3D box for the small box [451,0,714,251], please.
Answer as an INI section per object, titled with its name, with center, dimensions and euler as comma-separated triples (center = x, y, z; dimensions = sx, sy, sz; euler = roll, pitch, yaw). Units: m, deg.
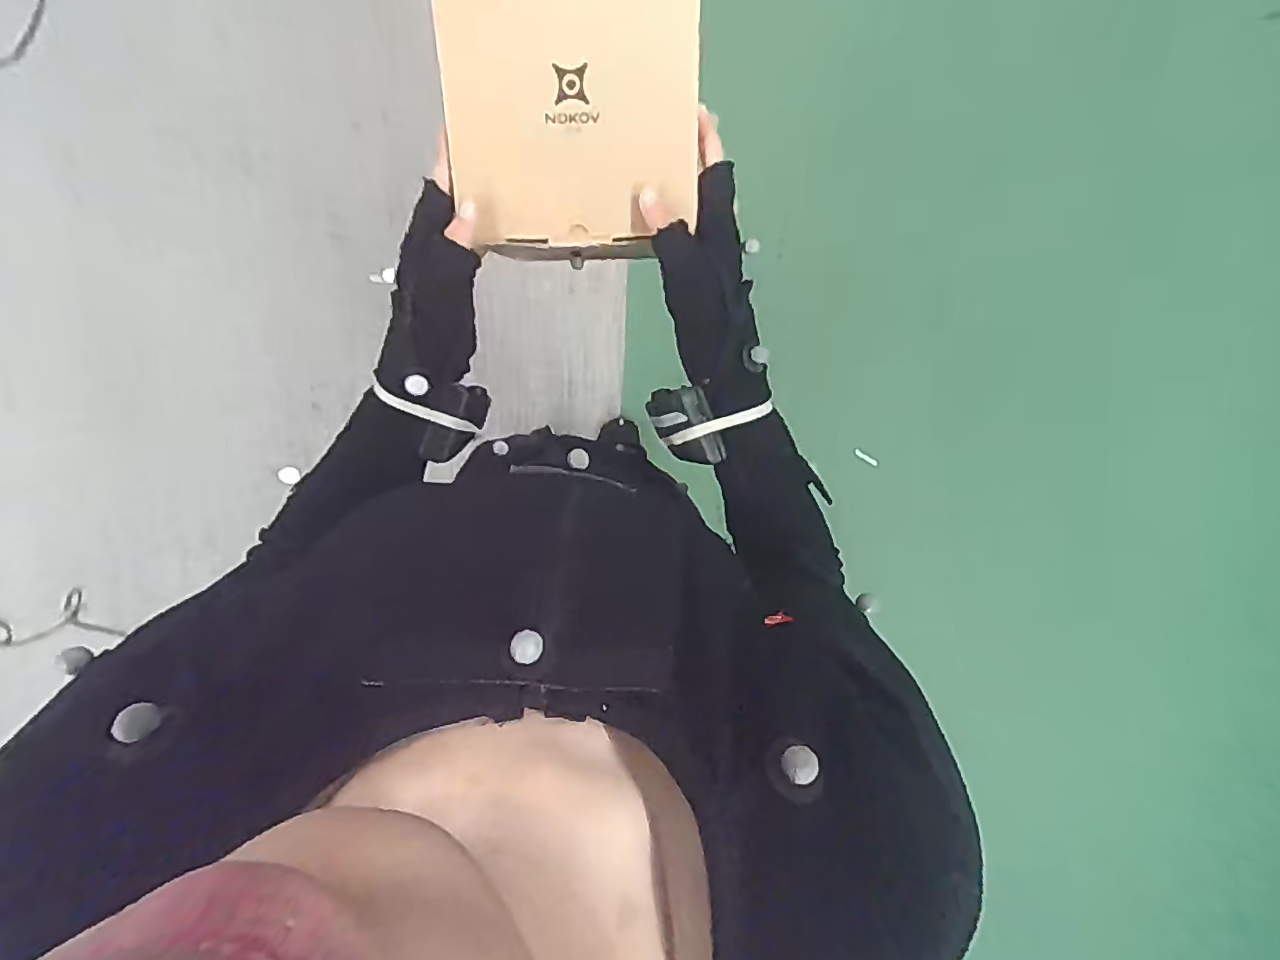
[small box]
center = -0.038, -0.280, 0.424
dimensions = 0.168, 0.176, 0.179
euler = -1, 110, -1
